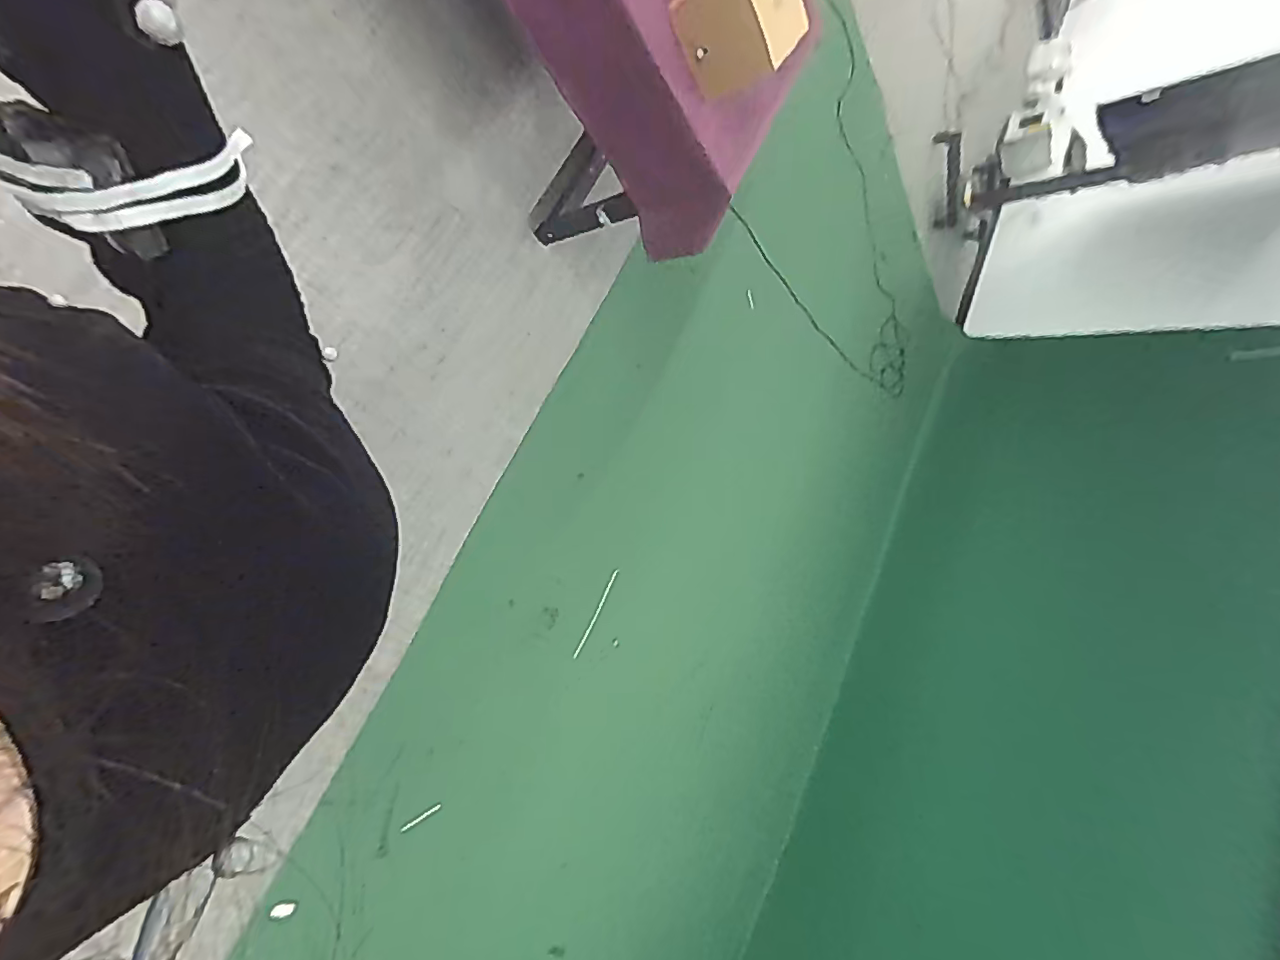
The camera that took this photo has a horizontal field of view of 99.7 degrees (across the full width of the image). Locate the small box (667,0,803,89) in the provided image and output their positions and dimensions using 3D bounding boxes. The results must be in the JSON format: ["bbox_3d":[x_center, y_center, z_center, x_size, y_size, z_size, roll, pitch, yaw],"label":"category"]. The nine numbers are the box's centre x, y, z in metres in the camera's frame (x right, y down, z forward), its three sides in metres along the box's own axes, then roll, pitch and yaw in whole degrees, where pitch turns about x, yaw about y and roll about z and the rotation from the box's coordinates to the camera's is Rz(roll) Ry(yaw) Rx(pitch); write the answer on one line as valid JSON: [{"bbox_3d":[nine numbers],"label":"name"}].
[{"bbox_3d":[0.184,-0.898,1.043,0.179,0.176,0.168,49,63,-39],"label":"small box"}]
